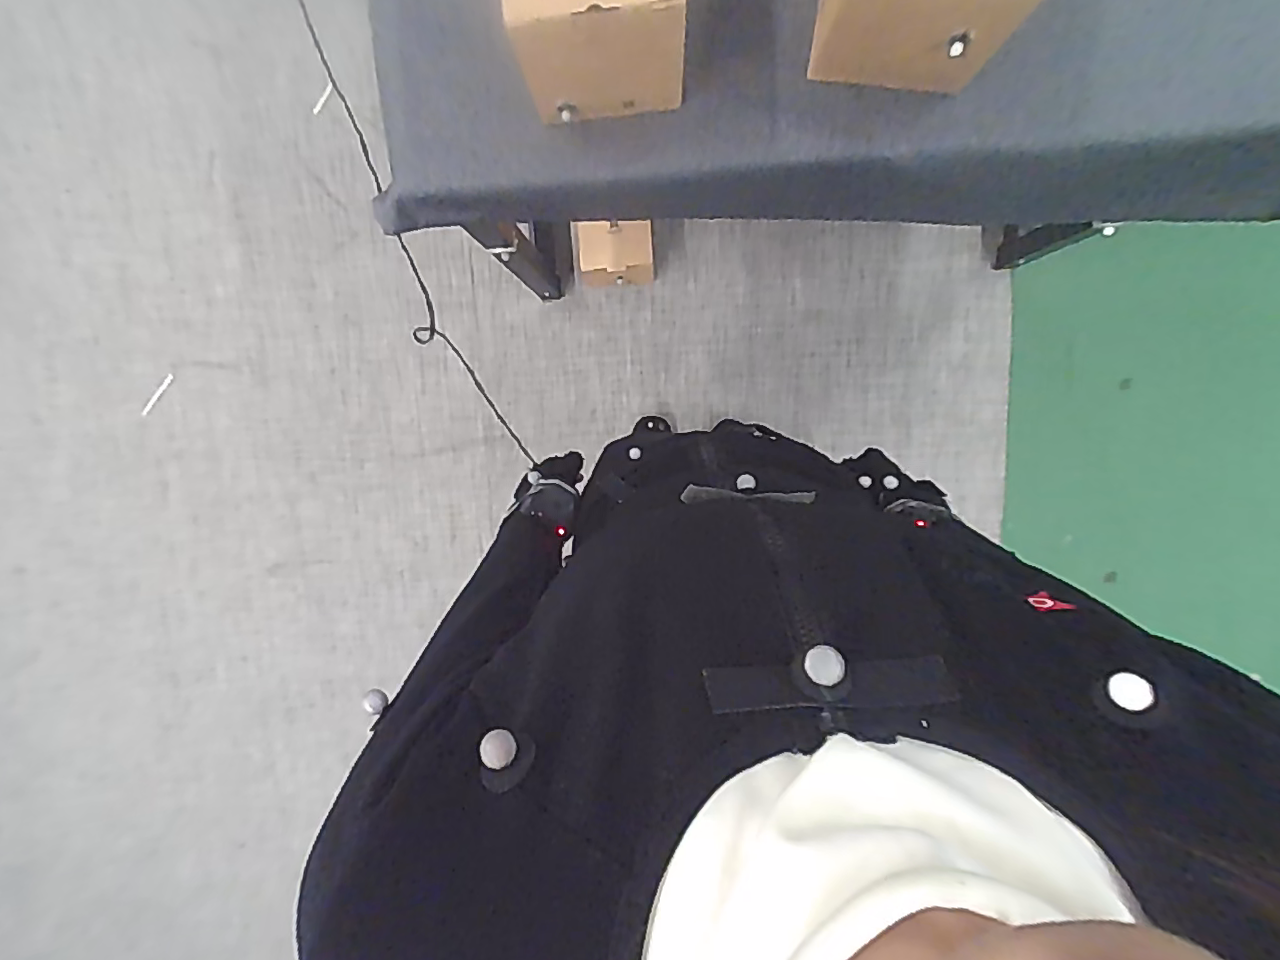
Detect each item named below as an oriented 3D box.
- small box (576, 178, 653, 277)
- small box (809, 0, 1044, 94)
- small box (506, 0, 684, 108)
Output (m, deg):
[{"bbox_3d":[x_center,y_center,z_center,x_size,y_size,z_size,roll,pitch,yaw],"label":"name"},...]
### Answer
[{"bbox_3d":[-0.054,-0.587,1.282,0.168,0.176,0.179,-3,98,2],"label":"small box"},{"bbox_3d":[0.289,-0.526,0.543,0.179,0.176,0.168,8,97,2],"label":"small box"},{"bbox_3d":[-0.041,-0.514,0.552,0.168,0.176,0.179,-4,96,2],"label":"small box"}]
